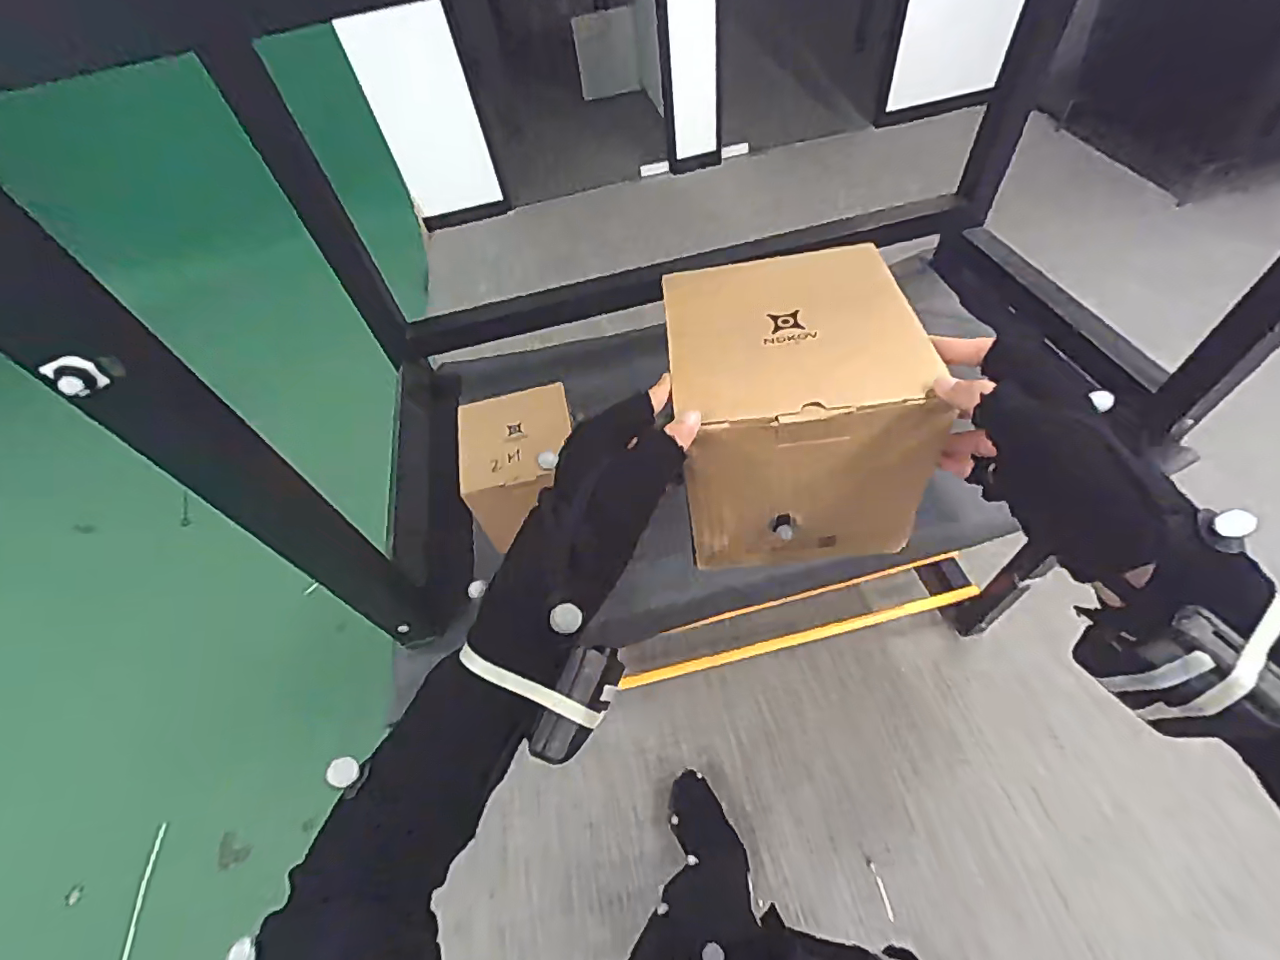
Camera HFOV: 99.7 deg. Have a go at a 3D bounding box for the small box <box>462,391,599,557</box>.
[{"bbox_3d":[-0.168,-0.007,0.845,0.168,0.176,0.179,-14,52,-2],"label":"small box"}]
